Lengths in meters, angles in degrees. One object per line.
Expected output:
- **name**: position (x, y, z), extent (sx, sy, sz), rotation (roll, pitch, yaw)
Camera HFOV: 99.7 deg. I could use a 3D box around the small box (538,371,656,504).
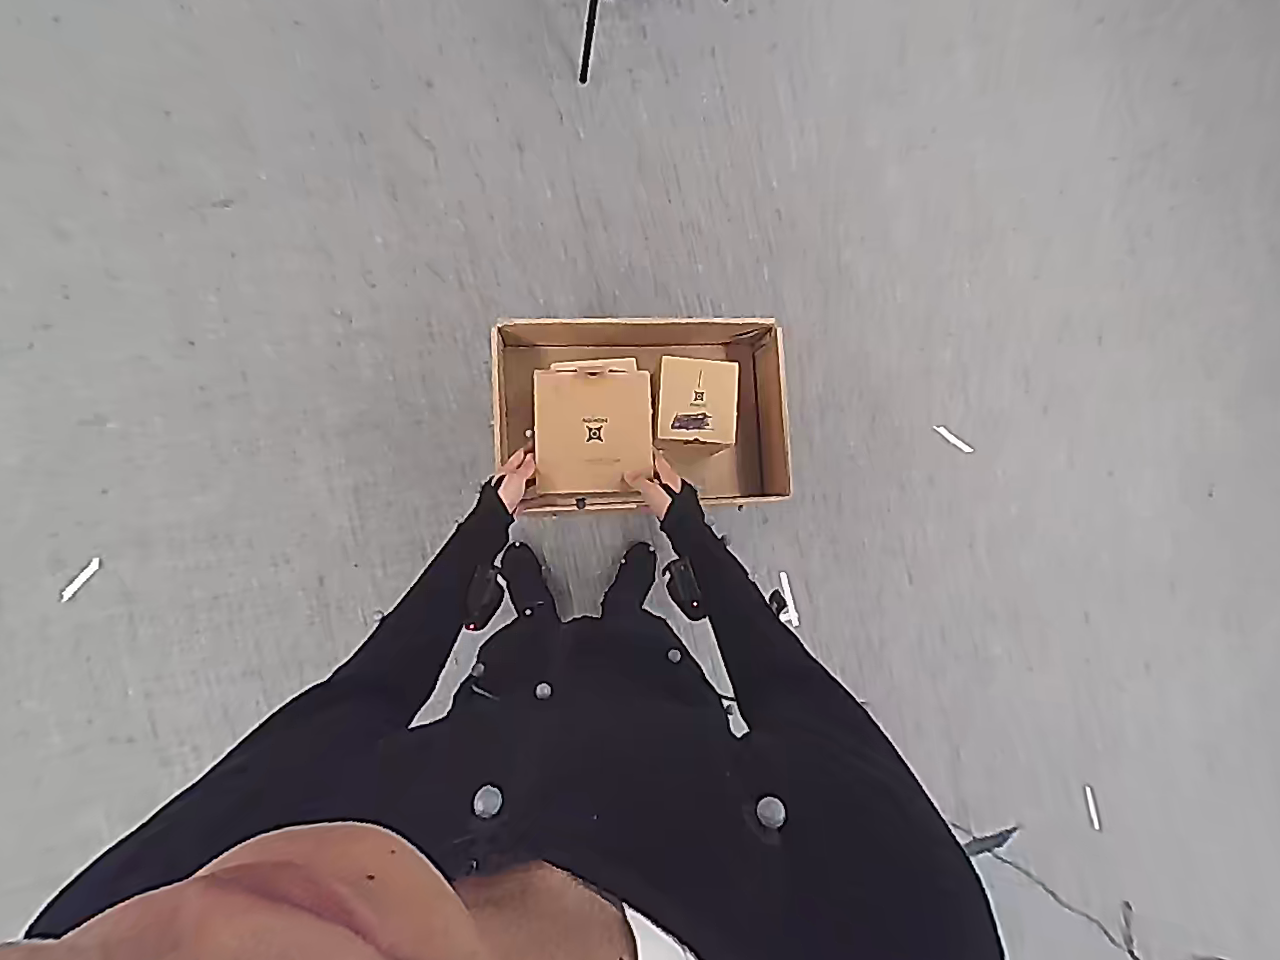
- **small box**: position (-0.072, -0.057, 0.831), extent (0.168, 0.176, 0.179), rotation (-1, 85, -8)
